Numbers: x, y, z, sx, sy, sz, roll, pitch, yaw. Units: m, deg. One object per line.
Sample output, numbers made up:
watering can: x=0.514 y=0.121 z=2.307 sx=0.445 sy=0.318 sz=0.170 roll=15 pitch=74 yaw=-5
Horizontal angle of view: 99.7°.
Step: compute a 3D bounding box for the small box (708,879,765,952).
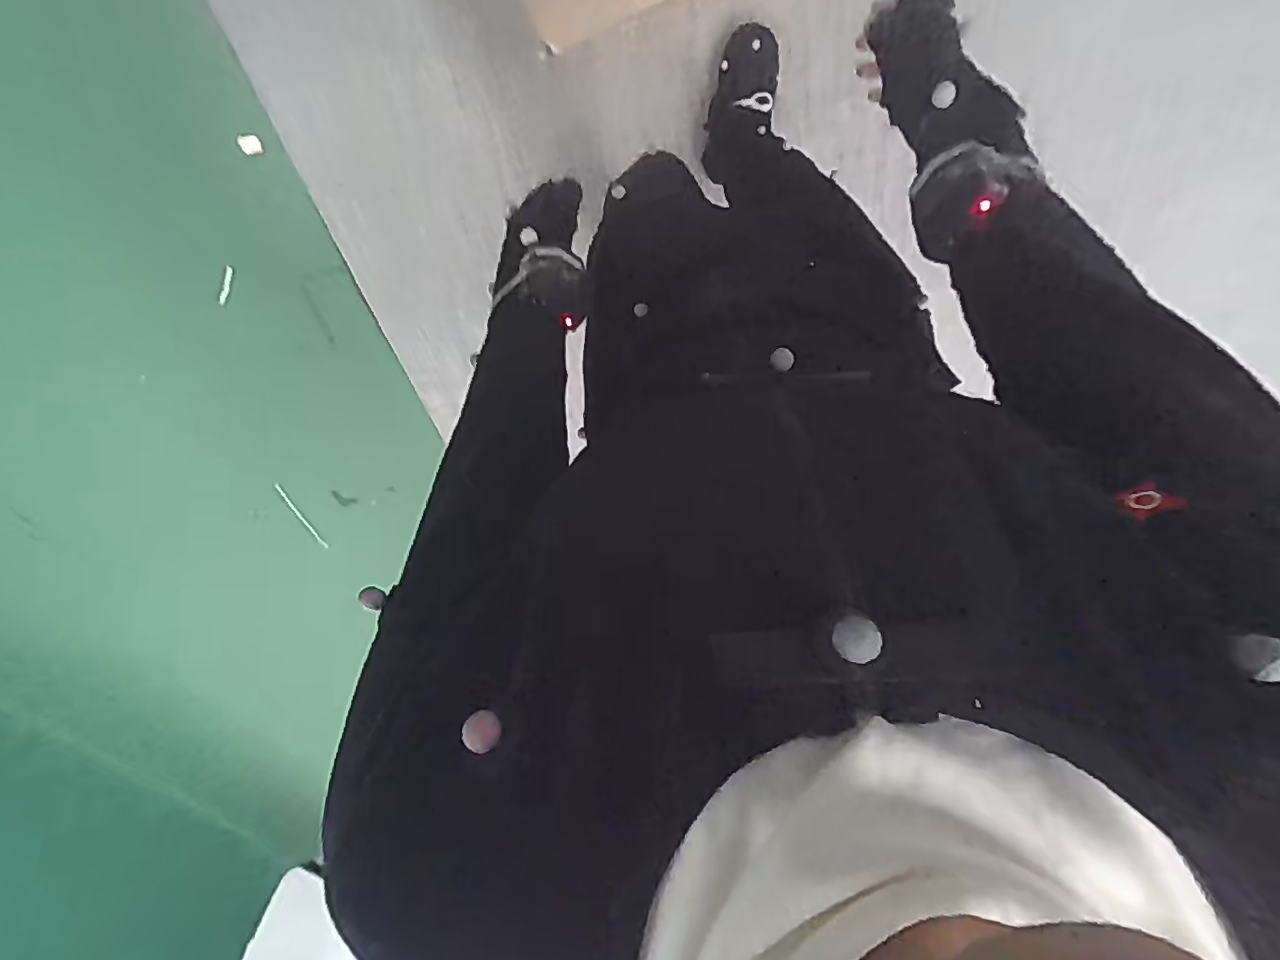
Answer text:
small box: x=0.332 y=1.510 z=1.876 sx=0.179 sy=0.176 sz=0.168 roll=-7 pitch=128 yaw=12
